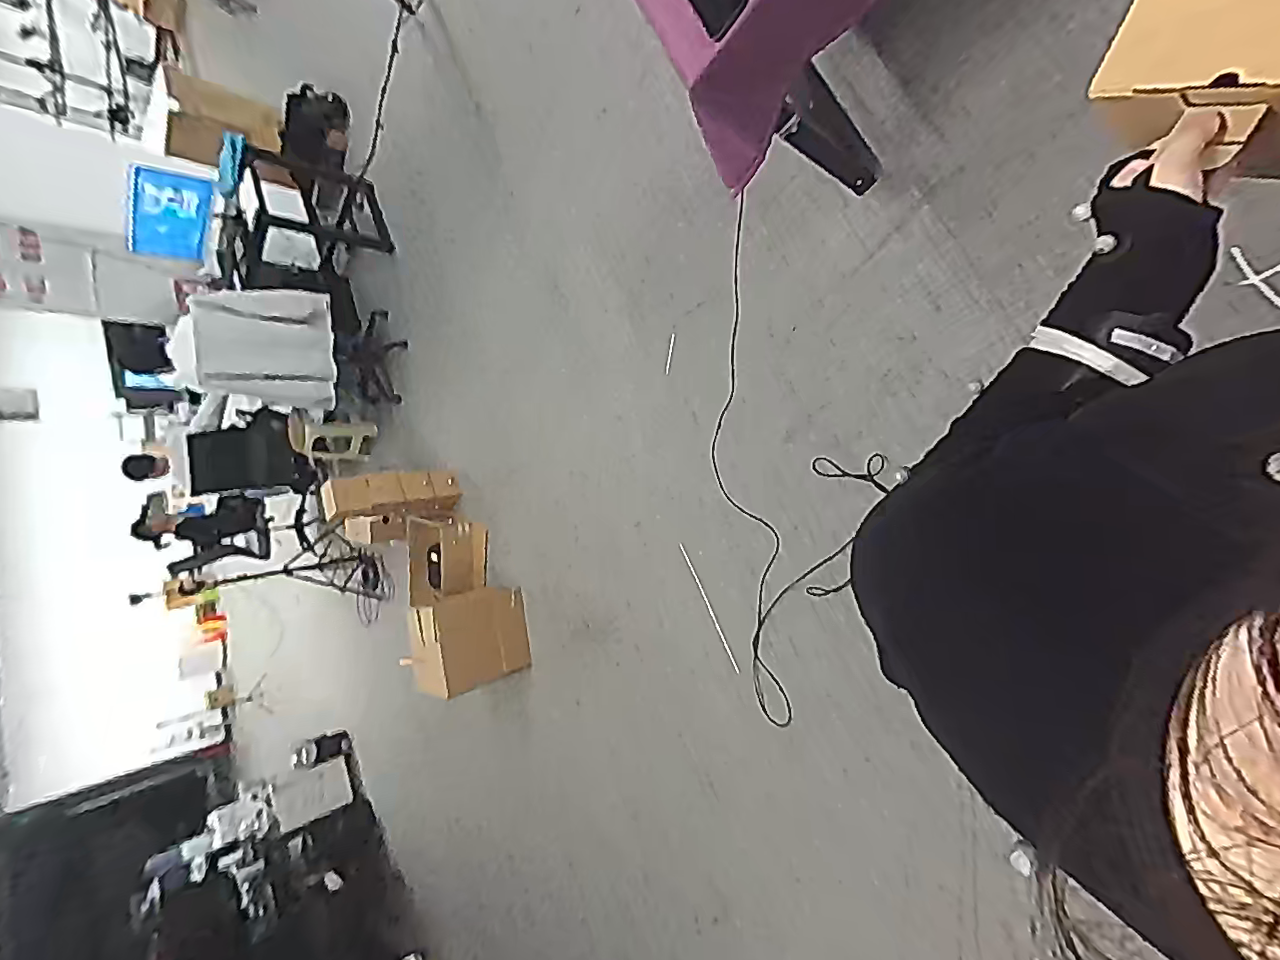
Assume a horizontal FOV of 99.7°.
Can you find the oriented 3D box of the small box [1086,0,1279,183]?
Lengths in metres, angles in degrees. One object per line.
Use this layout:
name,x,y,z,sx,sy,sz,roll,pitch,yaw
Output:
small box,0.478,-0.335,0.382,0.168,0.176,0.179,43,123,46
